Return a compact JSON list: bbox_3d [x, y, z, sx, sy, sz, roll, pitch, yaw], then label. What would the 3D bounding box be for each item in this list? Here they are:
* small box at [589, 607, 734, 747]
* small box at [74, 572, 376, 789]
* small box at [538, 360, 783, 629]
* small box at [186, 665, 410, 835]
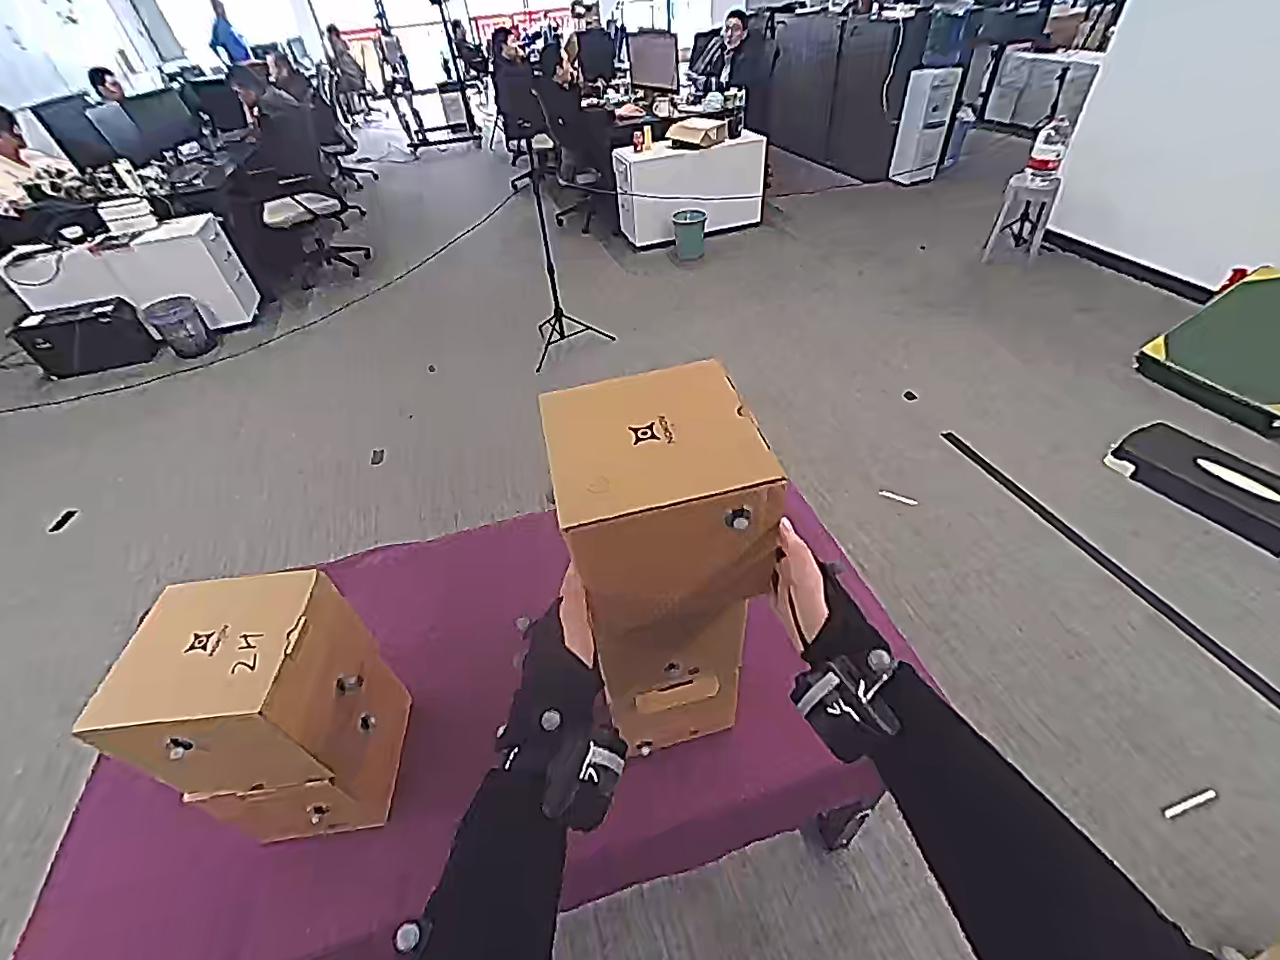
[{"bbox_3d":[0.027,0.253,0.764,0.168,0.176,0.179,-13,42,-7],"label":"small box"},{"bbox_3d":[-0.432,0.226,0.604,0.179,0.176,0.168,-6,44,-1],"label":"small box"},{"bbox_3d":[0.014,0.017,0.505,0.179,0.176,0.168,-13,47,-6],"label":"small box"},{"bbox_3d":[-0.426,0.348,0.715,0.168,0.176,0.179,-6,43,-2],"label":"small box"}]
